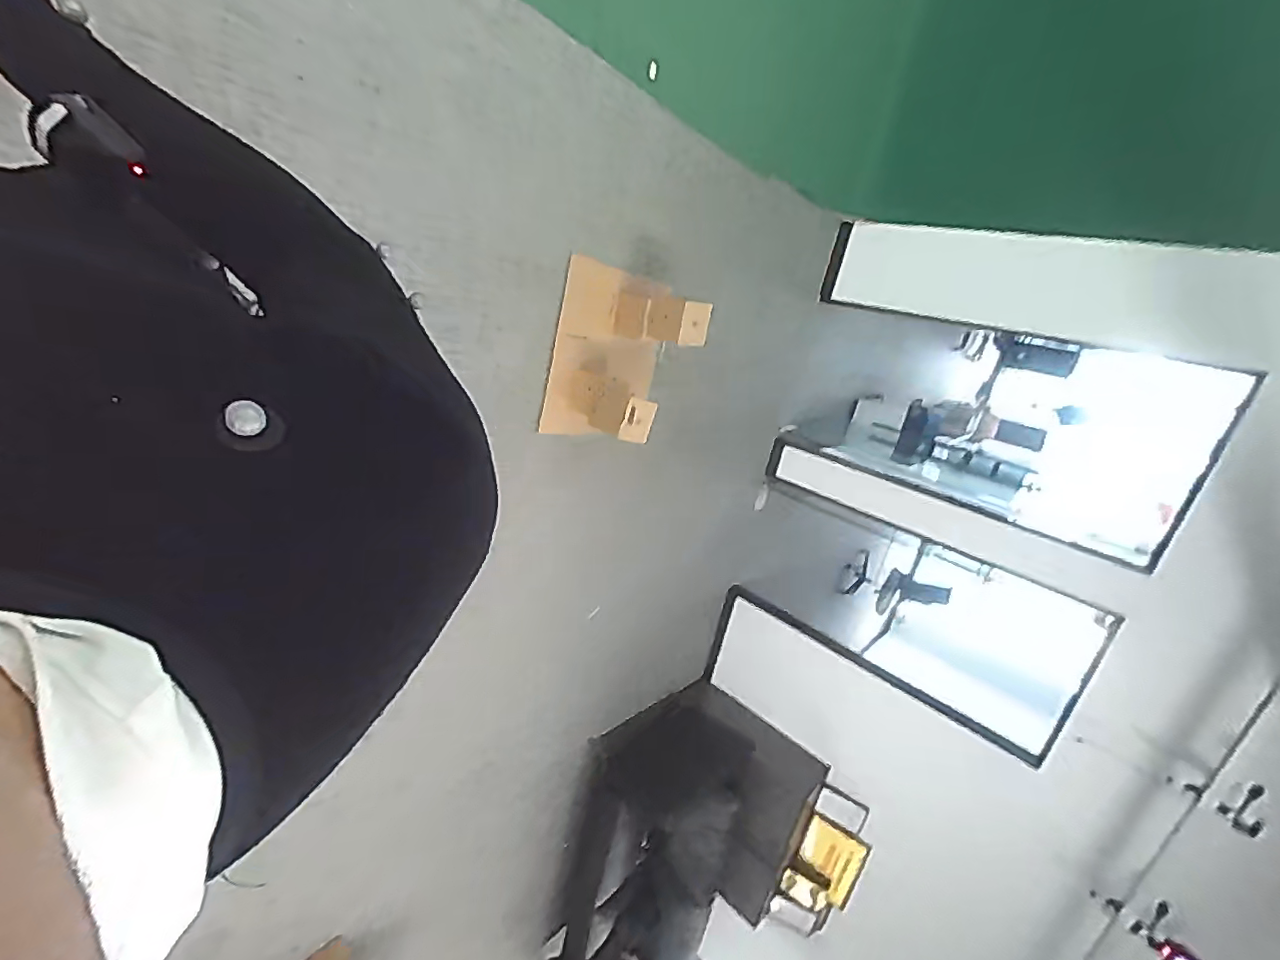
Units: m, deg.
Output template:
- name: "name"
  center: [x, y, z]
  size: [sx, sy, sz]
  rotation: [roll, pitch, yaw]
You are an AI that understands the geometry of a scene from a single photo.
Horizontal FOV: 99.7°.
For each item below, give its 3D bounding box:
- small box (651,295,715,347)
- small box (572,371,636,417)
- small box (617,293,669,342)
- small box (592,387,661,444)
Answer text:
- name: "small box"
  center: [0.164, -0.625, 2.120]
  size: [0.179, 0.176, 0.168]
  rotation: [-14, 123, -47]
- name: "small box"
  center: [-0.149, -0.336, 2.189]
  size: [0.179, 0.176, 0.168]
  rotation: [1, 110, -51]
- name: "small box"
  center: [0.031, -0.666, 2.212]
  size: [0.179, 0.176, 0.168]
  rotation: [-15, 122, -46]
- name: "small box"
  center: [-0.056, -0.249, 2.079]
  size: [0.179, 0.176, 0.168]
  rotation: [6, 107, -54]
